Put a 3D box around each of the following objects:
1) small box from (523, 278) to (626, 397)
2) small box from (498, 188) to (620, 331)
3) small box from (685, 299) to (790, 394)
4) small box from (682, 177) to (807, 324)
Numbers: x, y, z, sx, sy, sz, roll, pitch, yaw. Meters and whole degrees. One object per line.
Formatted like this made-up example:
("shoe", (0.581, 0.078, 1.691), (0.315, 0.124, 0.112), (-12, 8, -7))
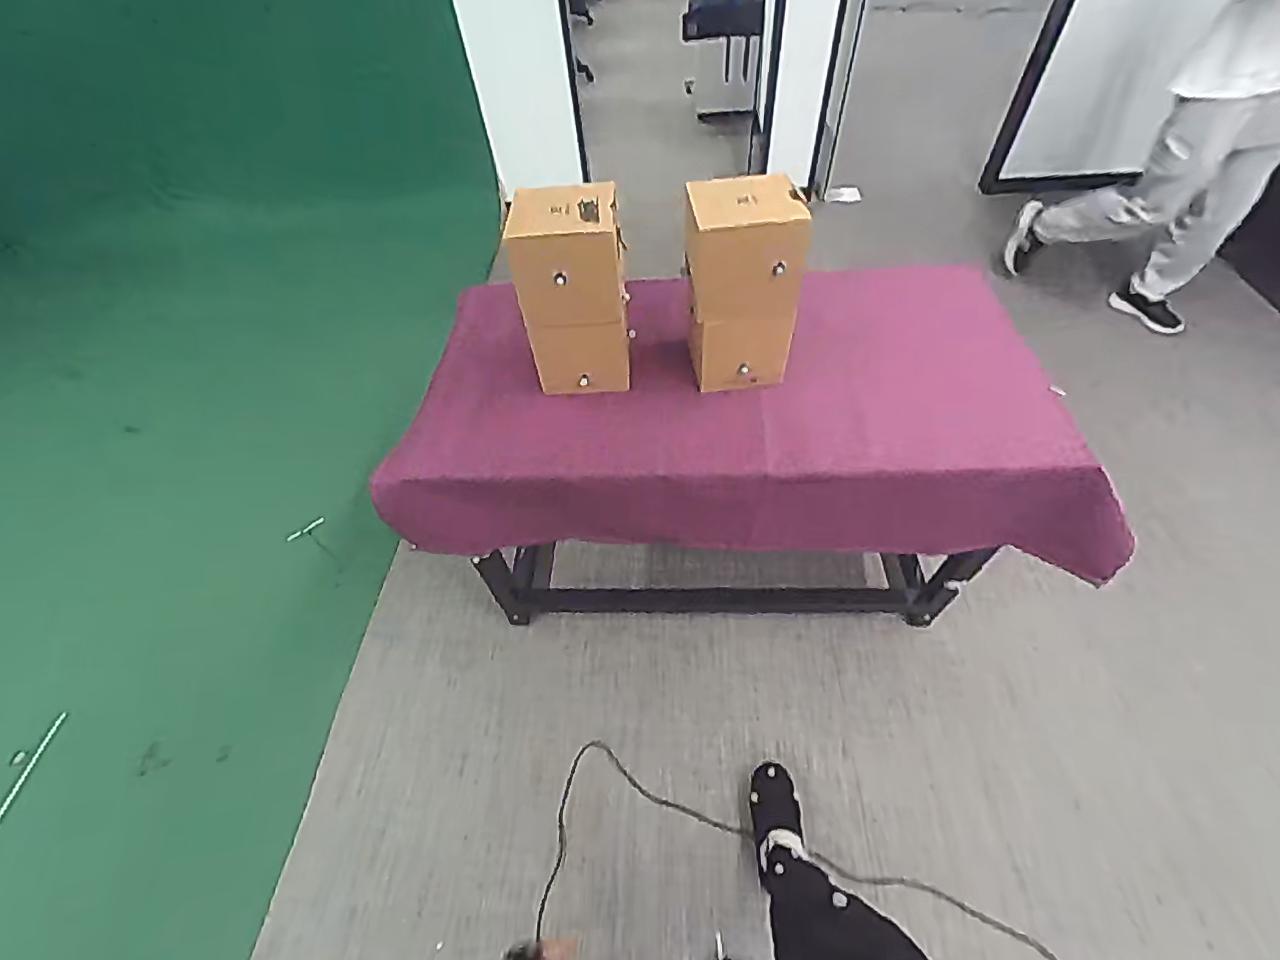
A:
("small box", (-0.119, -0.280, 1.071), (0.179, 0.176, 0.168), (-3, 52, 2))
("small box", (-0.128, -0.379, 0.941), (0.179, 0.176, 0.168), (-3, 53, 3))
("small box", (0.180, -0.293, 1.058), (0.168, 0.176, 0.179), (-7, 53, 0))
("small box", (0.167, -0.389, 0.926), (0.179, 0.176, 0.168), (-6, 52, 1))
